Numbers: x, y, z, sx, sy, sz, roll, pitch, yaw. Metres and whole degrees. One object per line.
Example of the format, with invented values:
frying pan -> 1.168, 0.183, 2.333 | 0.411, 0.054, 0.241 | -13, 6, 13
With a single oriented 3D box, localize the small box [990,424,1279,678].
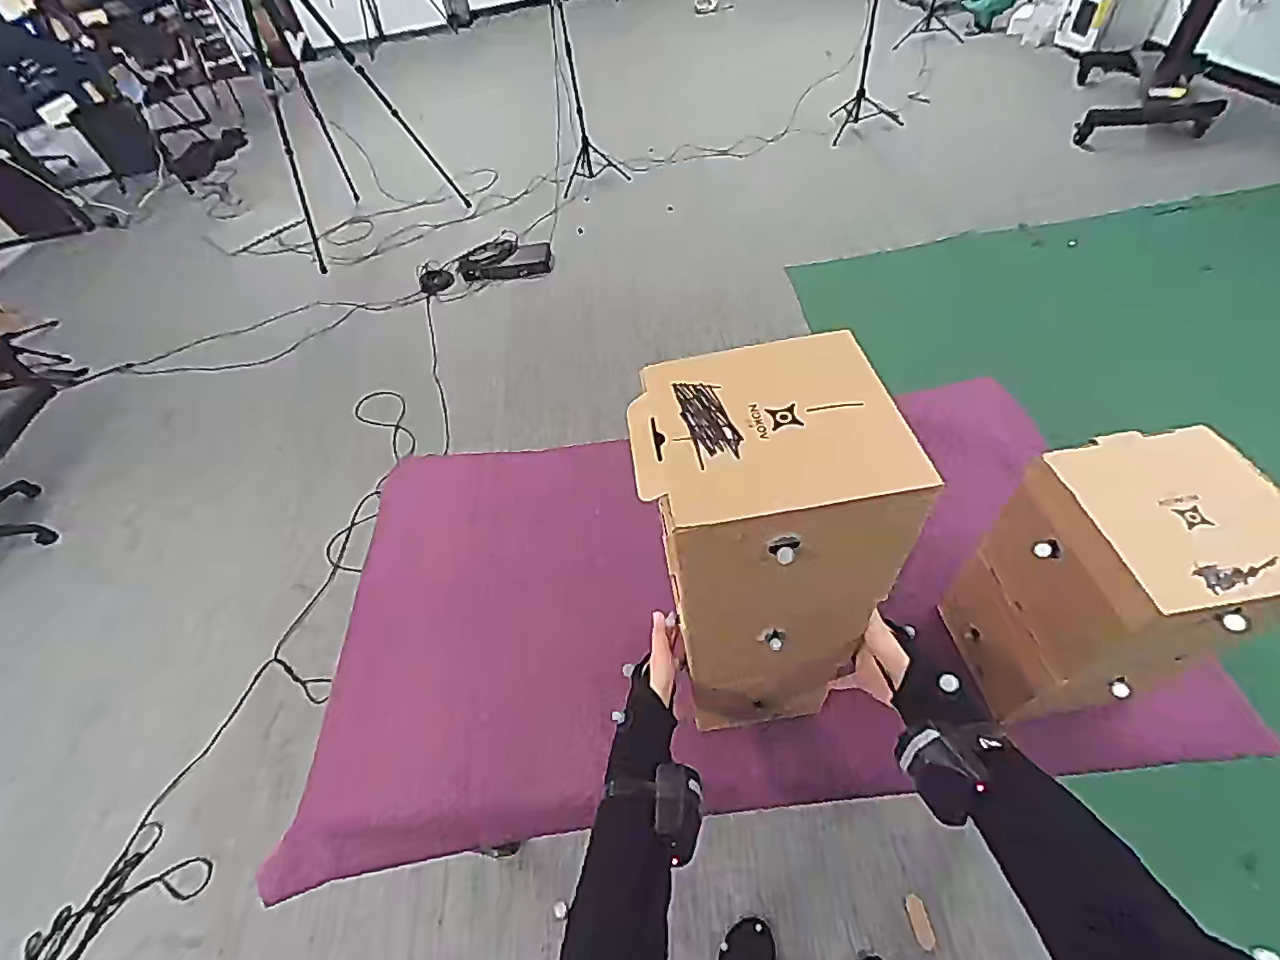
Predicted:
small box -> 0.495, 0.075, 0.543 | 0.168, 0.176, 0.179 | -12, 50, 3

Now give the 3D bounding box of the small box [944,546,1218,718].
small box -> 0.518, 0.178, 0.669 | 0.179, 0.176, 0.168 | -12, 52, 3

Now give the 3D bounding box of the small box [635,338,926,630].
small box -> 0.102, 0.011, 0.458 | 0.179, 0.176, 0.168 | -11, 51, 2

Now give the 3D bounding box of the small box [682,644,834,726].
small box -> 0.141, 0.211, 0.714 | 0.168, 0.176, 0.179 | -10, 50, 2

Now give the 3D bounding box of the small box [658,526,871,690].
small box -> 0.122, 0.111, 0.585 | 0.179, 0.176, 0.168 | -11, 51, 2
